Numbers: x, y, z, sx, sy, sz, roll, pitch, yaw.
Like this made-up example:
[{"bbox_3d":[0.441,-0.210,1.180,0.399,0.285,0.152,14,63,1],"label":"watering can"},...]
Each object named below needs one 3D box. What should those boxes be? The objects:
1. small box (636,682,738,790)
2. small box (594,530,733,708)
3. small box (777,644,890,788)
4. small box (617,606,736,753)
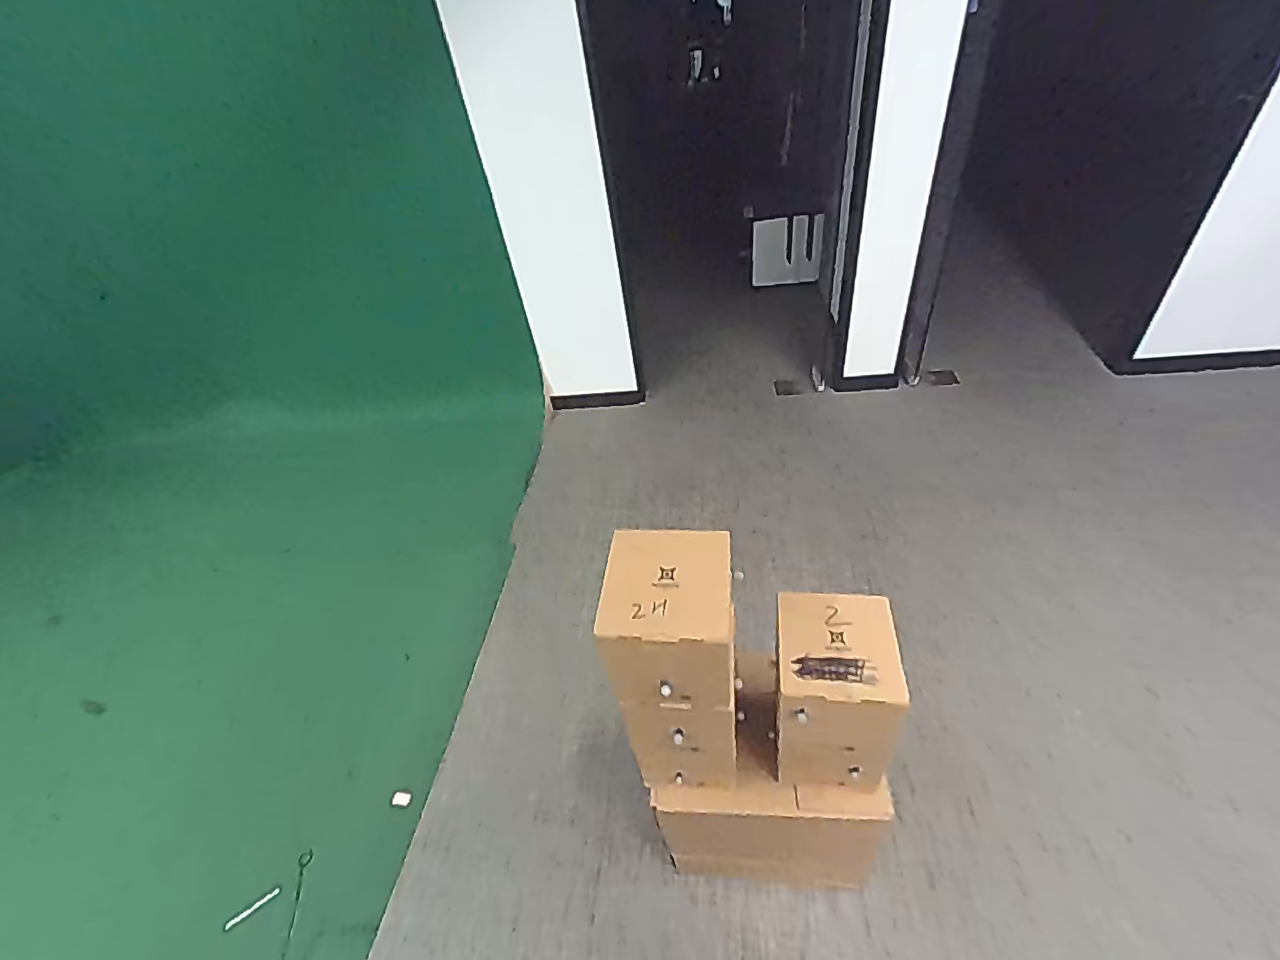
[{"bbox_3d":[0.091,0.430,0.973,0.168,0.176,0.179,-1,43,9],"label":"small box"},{"bbox_3d":[0.043,0.190,0.752,0.168,0.176,0.179,-1,43,10],"label":"small box"},{"bbox_3d":[0.325,0.411,0.941,0.168,0.176,0.179,-1,41,13],"label":"small box"},{"bbox_3d":[0.068,0.313,0.860,0.168,0.176,0.179,0,44,10],"label":"small box"}]
